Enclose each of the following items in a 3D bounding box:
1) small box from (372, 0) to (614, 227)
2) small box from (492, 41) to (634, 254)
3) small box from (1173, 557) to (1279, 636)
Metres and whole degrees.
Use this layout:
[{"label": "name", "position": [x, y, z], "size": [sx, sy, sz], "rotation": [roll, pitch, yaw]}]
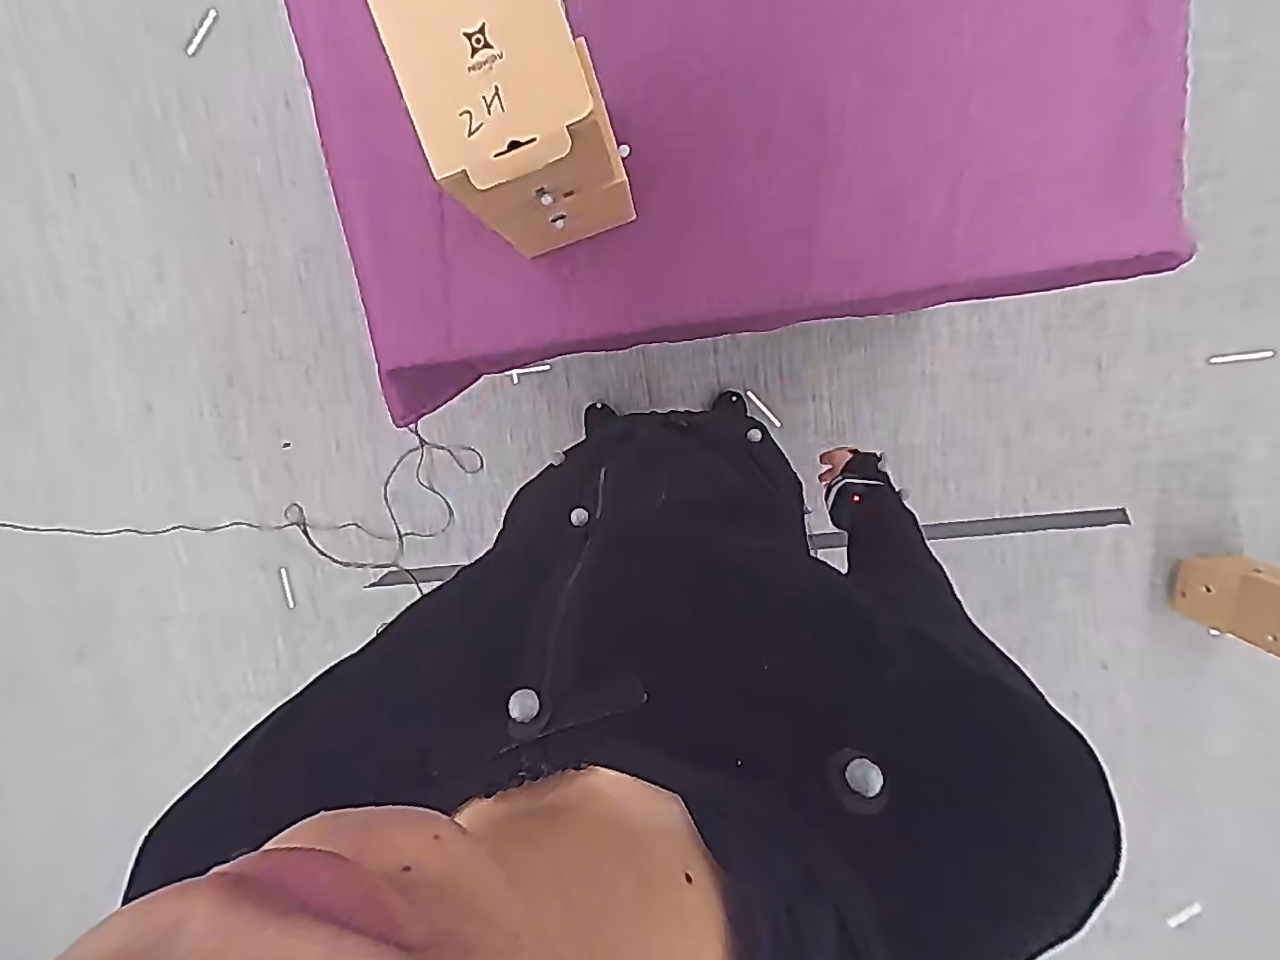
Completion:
[{"label": "small box", "position": [-0.136, -0.399, 0.568], "size": [0.168, 0.176, 0.179], "rotation": [-18, 99, 8]}, {"label": "small box", "position": [-0.116, -0.426, 0.730], "size": [0.179, 0.176, 0.168], "rotation": [-17, 99, 6]}, {"label": "small box", "position": [1.644, 0.318, 1.498], "size": [0.179, 0.176, 0.168], "rotation": [-2, 101, 4]}]
